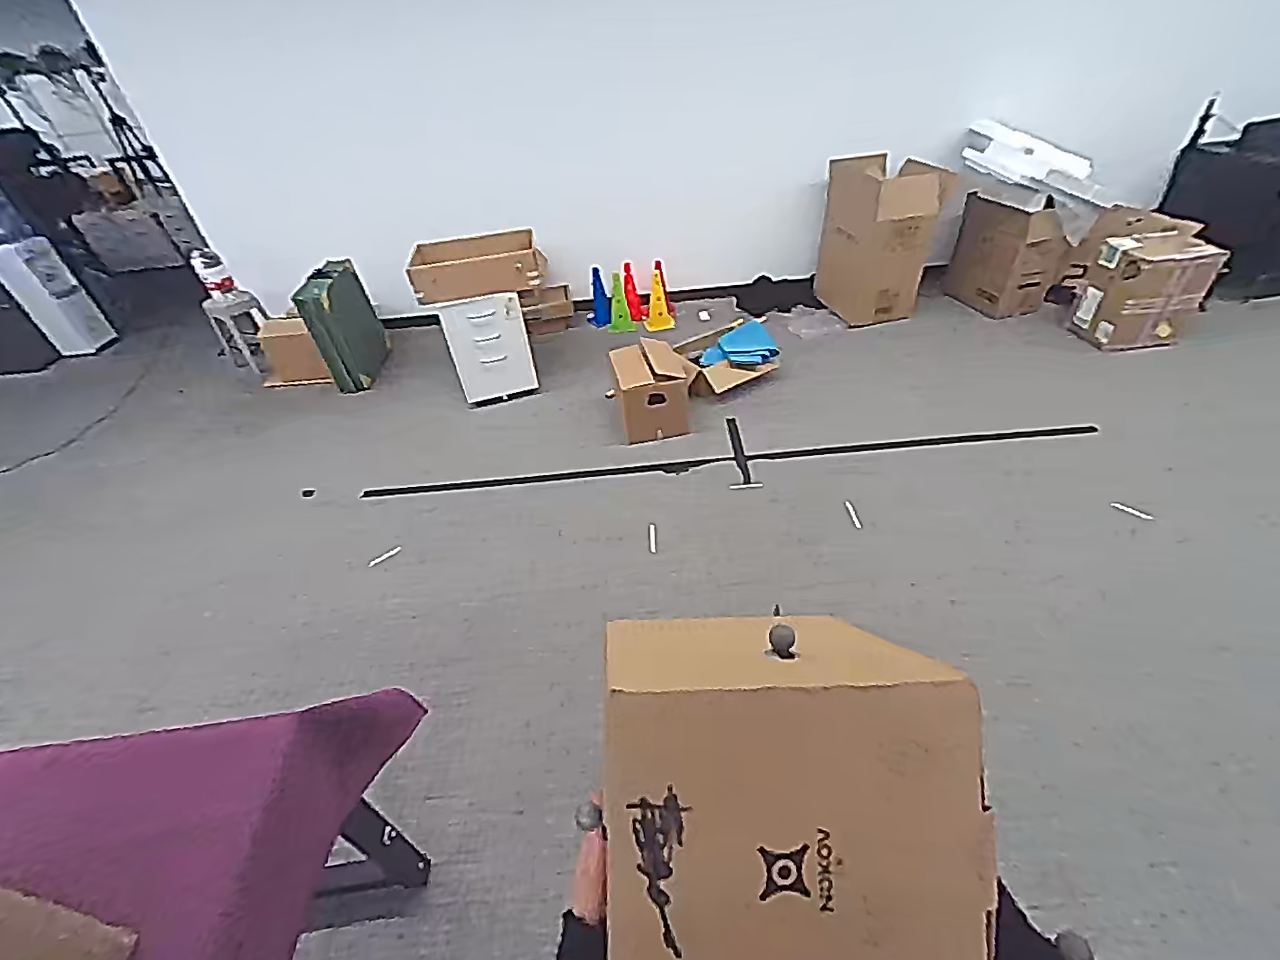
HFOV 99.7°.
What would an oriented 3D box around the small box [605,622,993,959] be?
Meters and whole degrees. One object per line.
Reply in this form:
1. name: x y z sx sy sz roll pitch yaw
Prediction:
1. small box: 0.069 0.182 0.323 0.179 0.168 0.176 0 -5 -4
